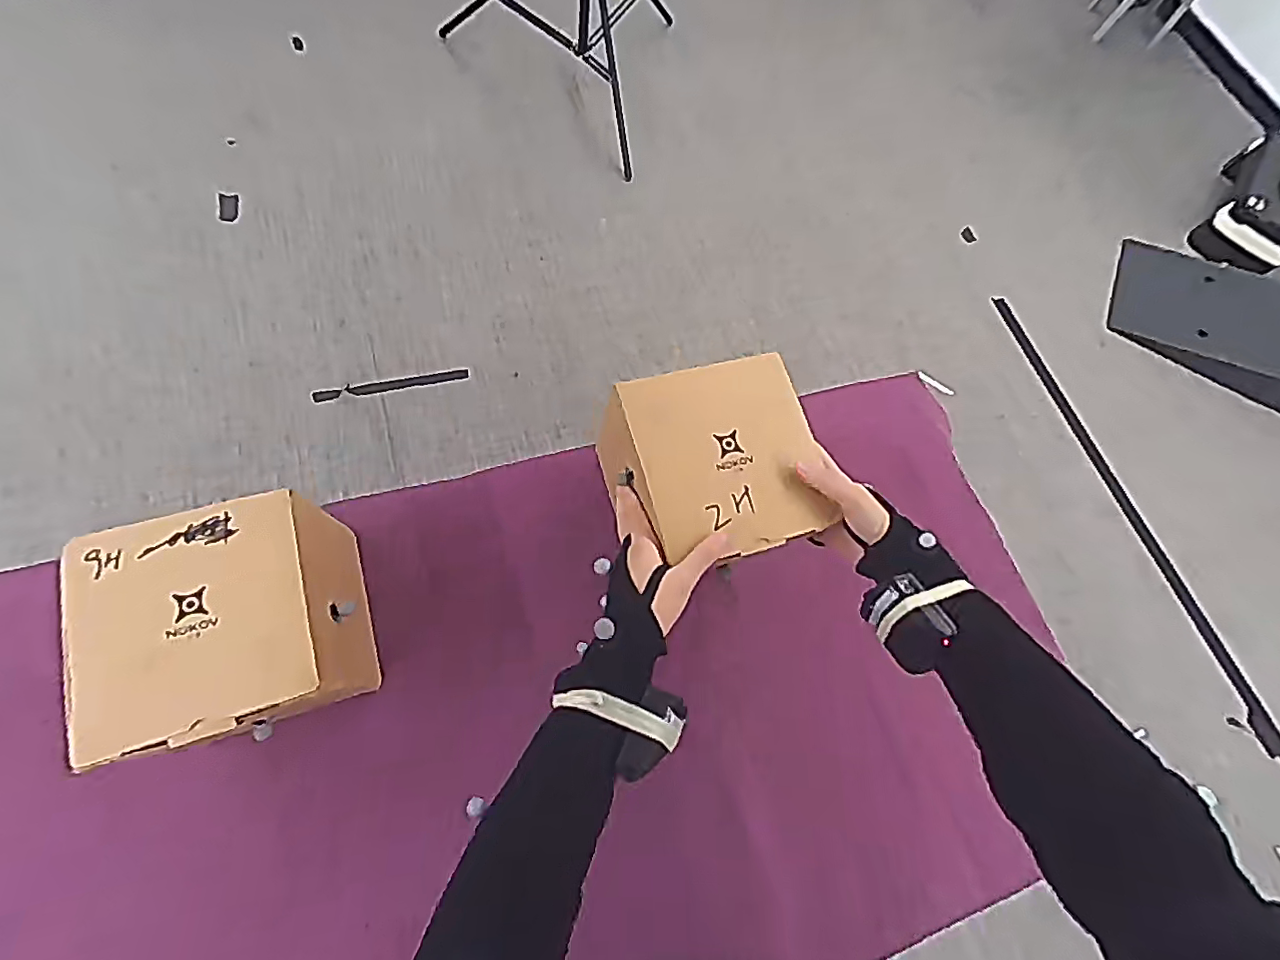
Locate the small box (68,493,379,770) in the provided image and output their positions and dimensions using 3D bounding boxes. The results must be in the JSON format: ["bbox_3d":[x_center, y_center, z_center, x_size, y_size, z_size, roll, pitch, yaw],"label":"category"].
[{"bbox_3d":[-0.360,0.133,0.498,0.168,0.176,0.179,-15,75,-14],"label":"small box"}]

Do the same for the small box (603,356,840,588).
[{"bbox_3d":[0.065,0.000,0.557,0.168,0.176,0.179,-14,76,-13],"label":"small box"}]
